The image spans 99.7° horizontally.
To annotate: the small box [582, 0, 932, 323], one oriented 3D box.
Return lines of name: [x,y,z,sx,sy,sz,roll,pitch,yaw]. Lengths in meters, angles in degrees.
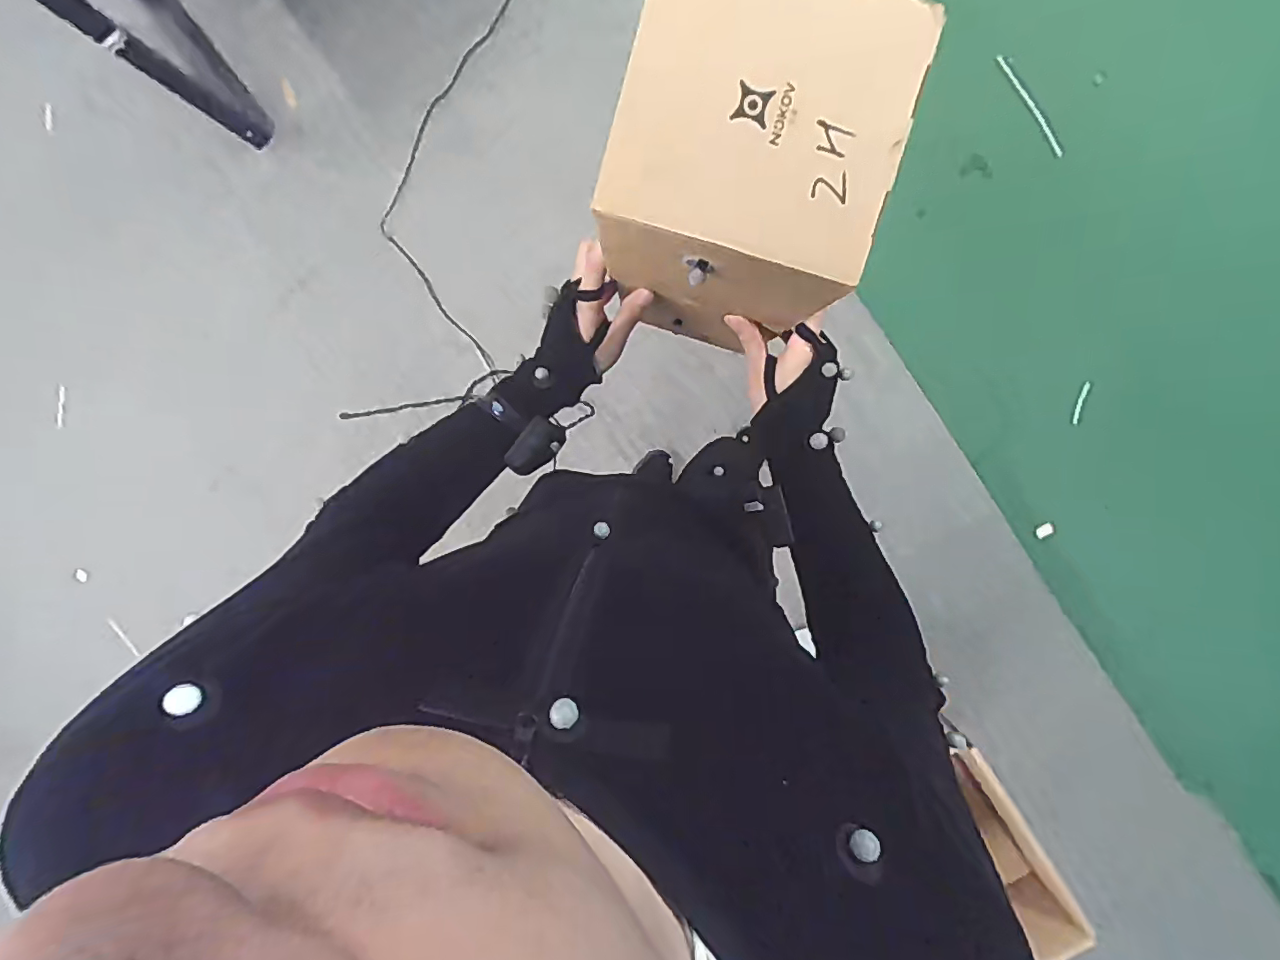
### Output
small box: [0.070,-0.230,0.407,0.179,0.176,0.168,16,96,-1]

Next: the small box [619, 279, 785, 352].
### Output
small box: [0.078,-0.250,0.571,0.168,0.176,0.179,17,96,-1]
